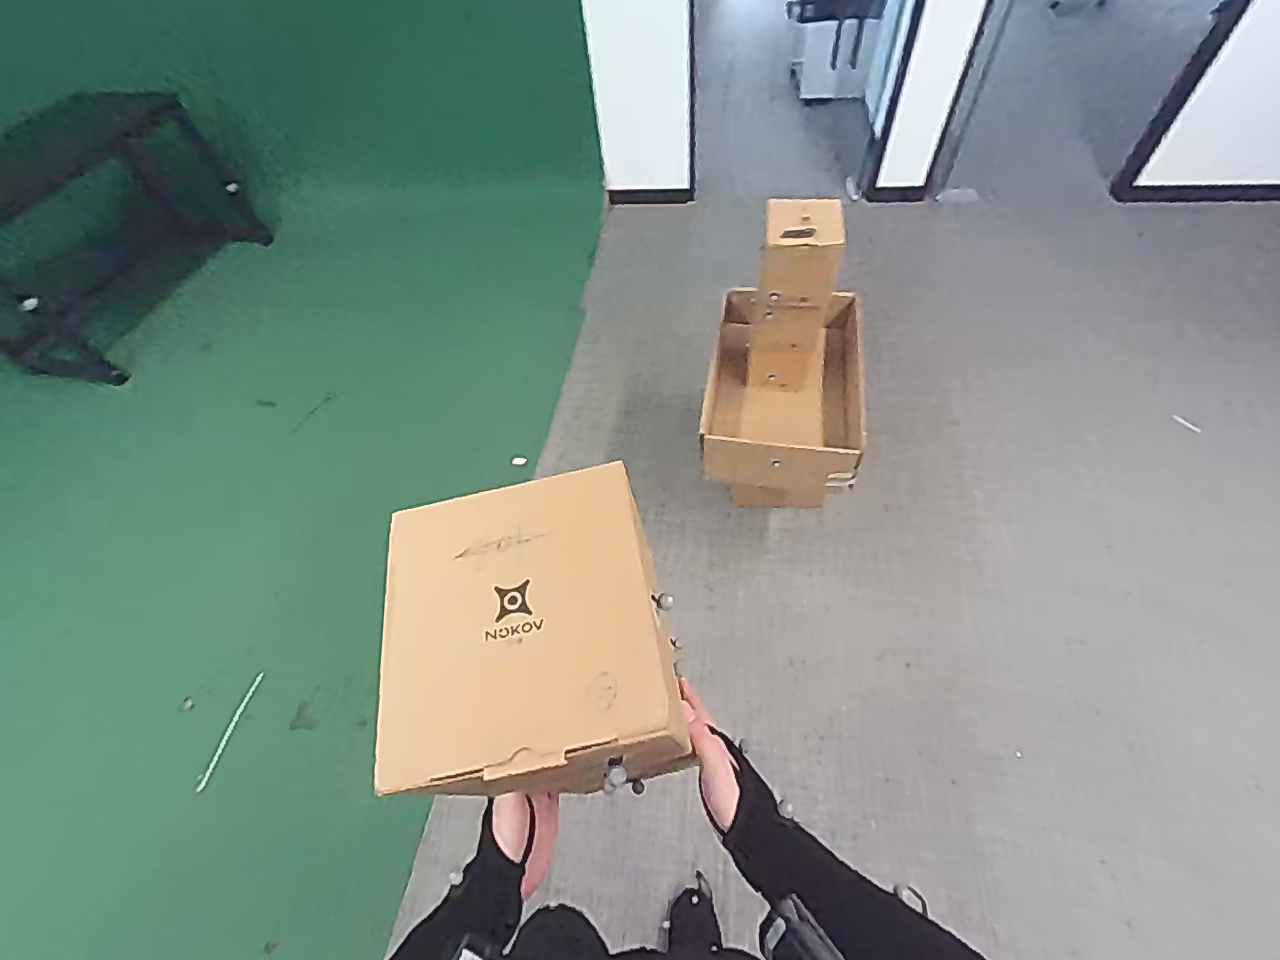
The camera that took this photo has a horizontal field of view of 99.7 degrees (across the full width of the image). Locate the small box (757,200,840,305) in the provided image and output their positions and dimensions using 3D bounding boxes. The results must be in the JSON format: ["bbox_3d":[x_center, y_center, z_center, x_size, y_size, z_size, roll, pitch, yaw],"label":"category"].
[{"bbox_3d":[0.369,-0.532,1.275,0.168,0.176,0.179,4,58,8],"label":"small box"}]

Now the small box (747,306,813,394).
[{"bbox_3d":[0.401,-0.375,1.563,0.168,0.176,0.179,6,59,9],"label":"small box"}]

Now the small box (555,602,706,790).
[{"bbox_3d":[-0.018,0.275,0.679,0.168,0.176,0.179,-14,59,2],"label":"small box"}]

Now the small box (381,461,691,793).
[{"bbox_3d":[-0.061,0.115,0.396,0.168,0.176,0.179,-12,59,2],"label":"small box"}]
